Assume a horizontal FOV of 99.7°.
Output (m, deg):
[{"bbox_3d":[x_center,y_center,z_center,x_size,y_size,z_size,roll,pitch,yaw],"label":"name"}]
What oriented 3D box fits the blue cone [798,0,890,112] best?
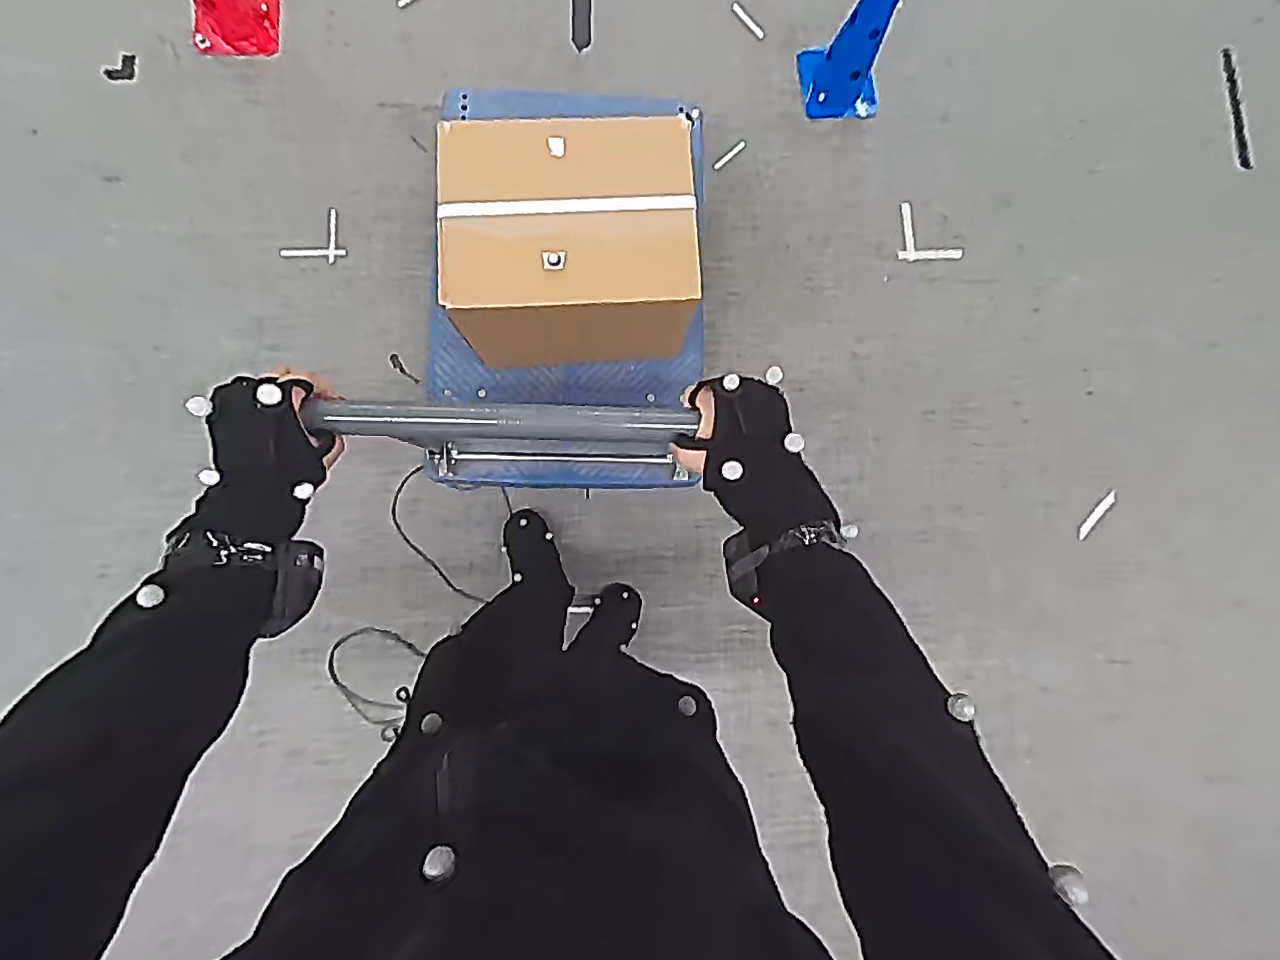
[{"bbox_3d":[0.537,-1.091,1.285,0.193,0.380,0.192,-5,84,-4],"label":"blue cone"}]
